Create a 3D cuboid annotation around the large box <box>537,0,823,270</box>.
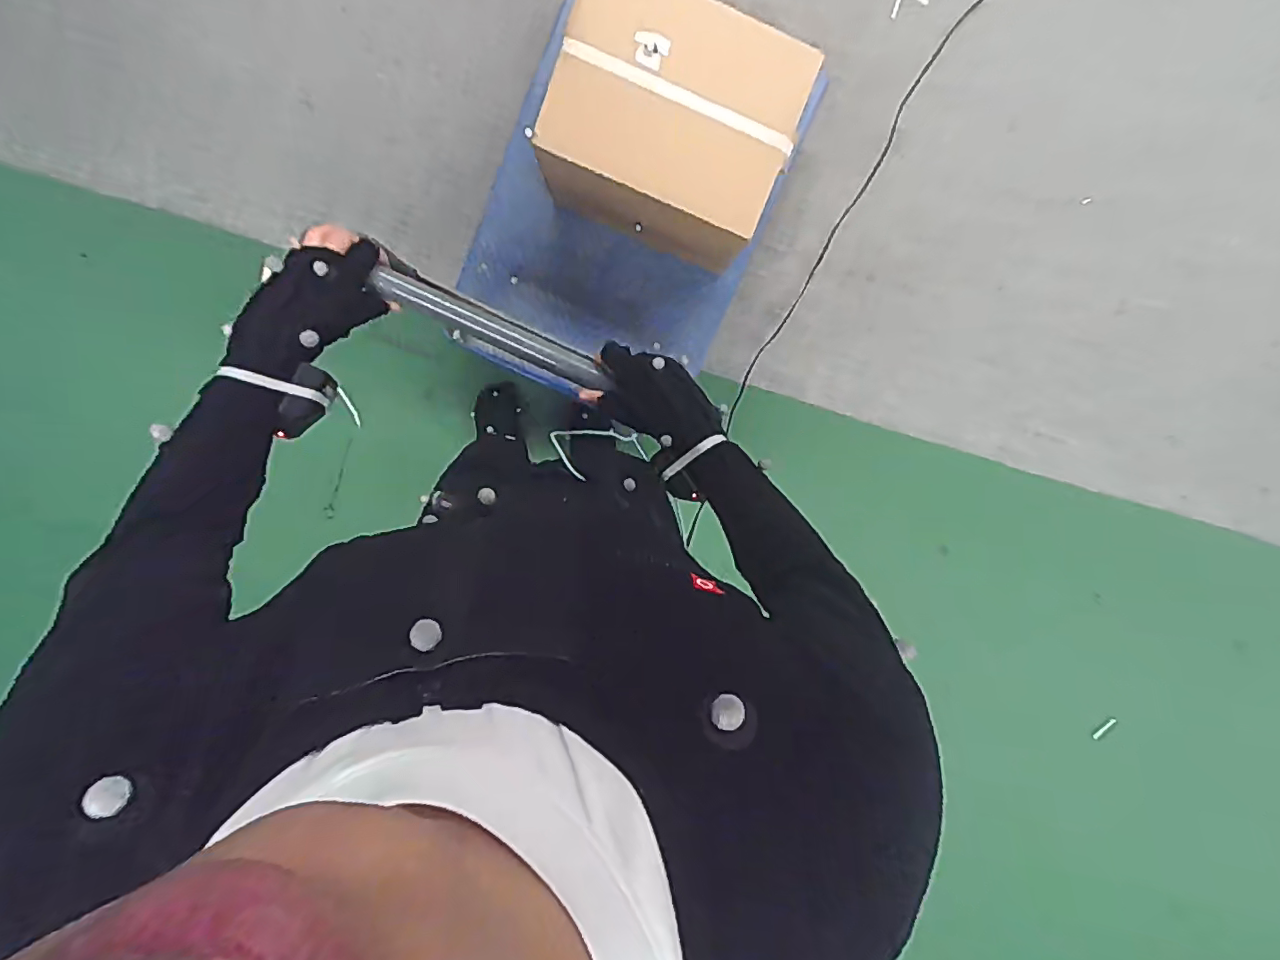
[{"bbox_3d":[0.064,-0.650,1.040,0.408,0.320,0.320,21,98,-4],"label":"large box"}]
